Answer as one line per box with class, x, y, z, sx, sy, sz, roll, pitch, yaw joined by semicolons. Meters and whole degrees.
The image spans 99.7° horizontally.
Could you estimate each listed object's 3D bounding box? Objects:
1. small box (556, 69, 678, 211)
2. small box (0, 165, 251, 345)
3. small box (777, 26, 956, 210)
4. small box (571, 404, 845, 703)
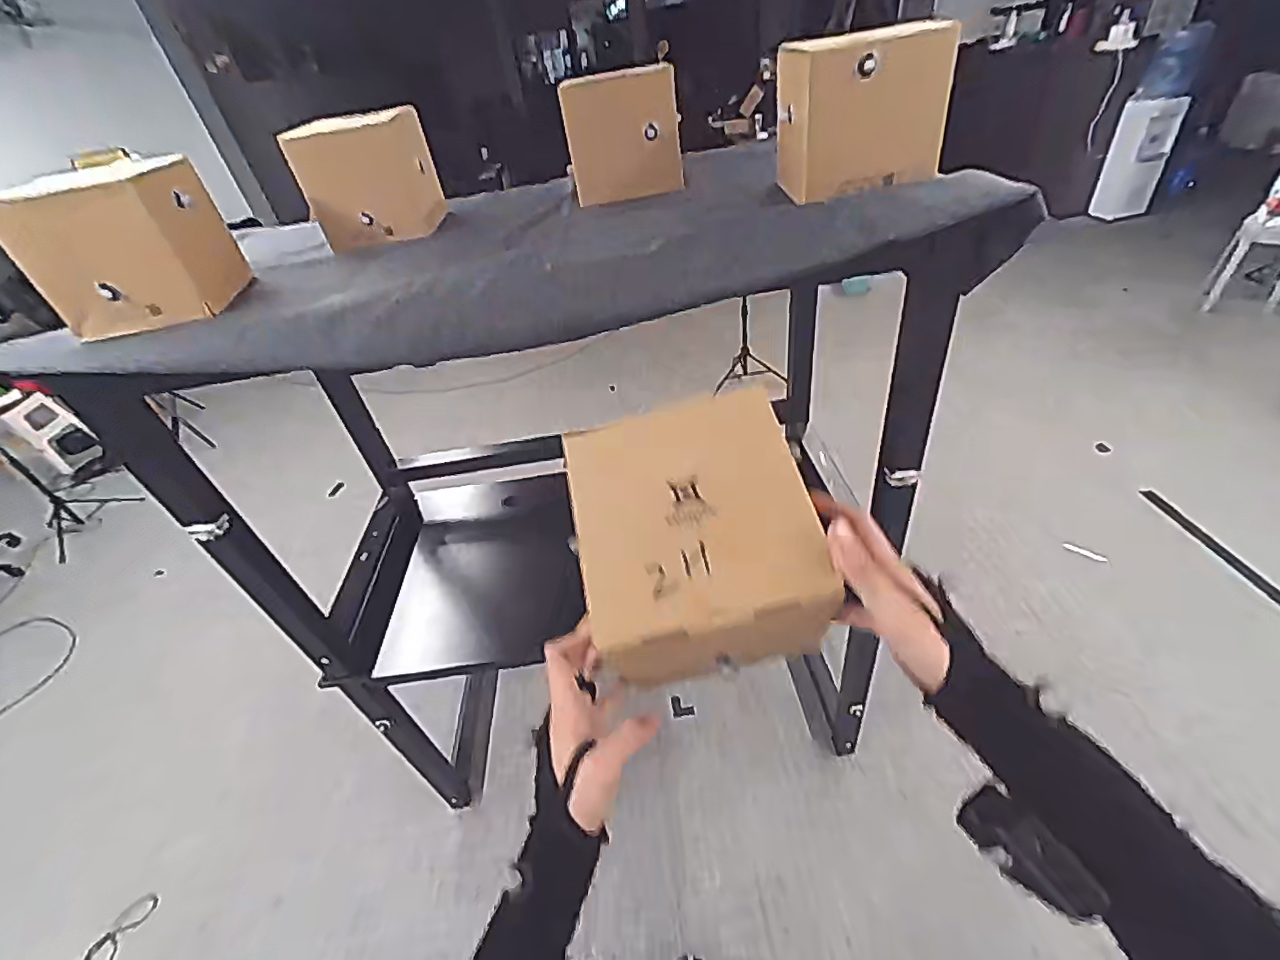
small box;-0.031;-0.570;0.908;0.179;0.176;0.168;-8;38;3
small box;-0.663;-0.301;0.718;0.168;0.176;0.179;-14;40;-6
small box;0.276;-0.469;0.709;0.168;0.176;0.179;-7;38;5
small box;0.050;0.069;0.455;0.168;0.176;0.179;-15;58;3
